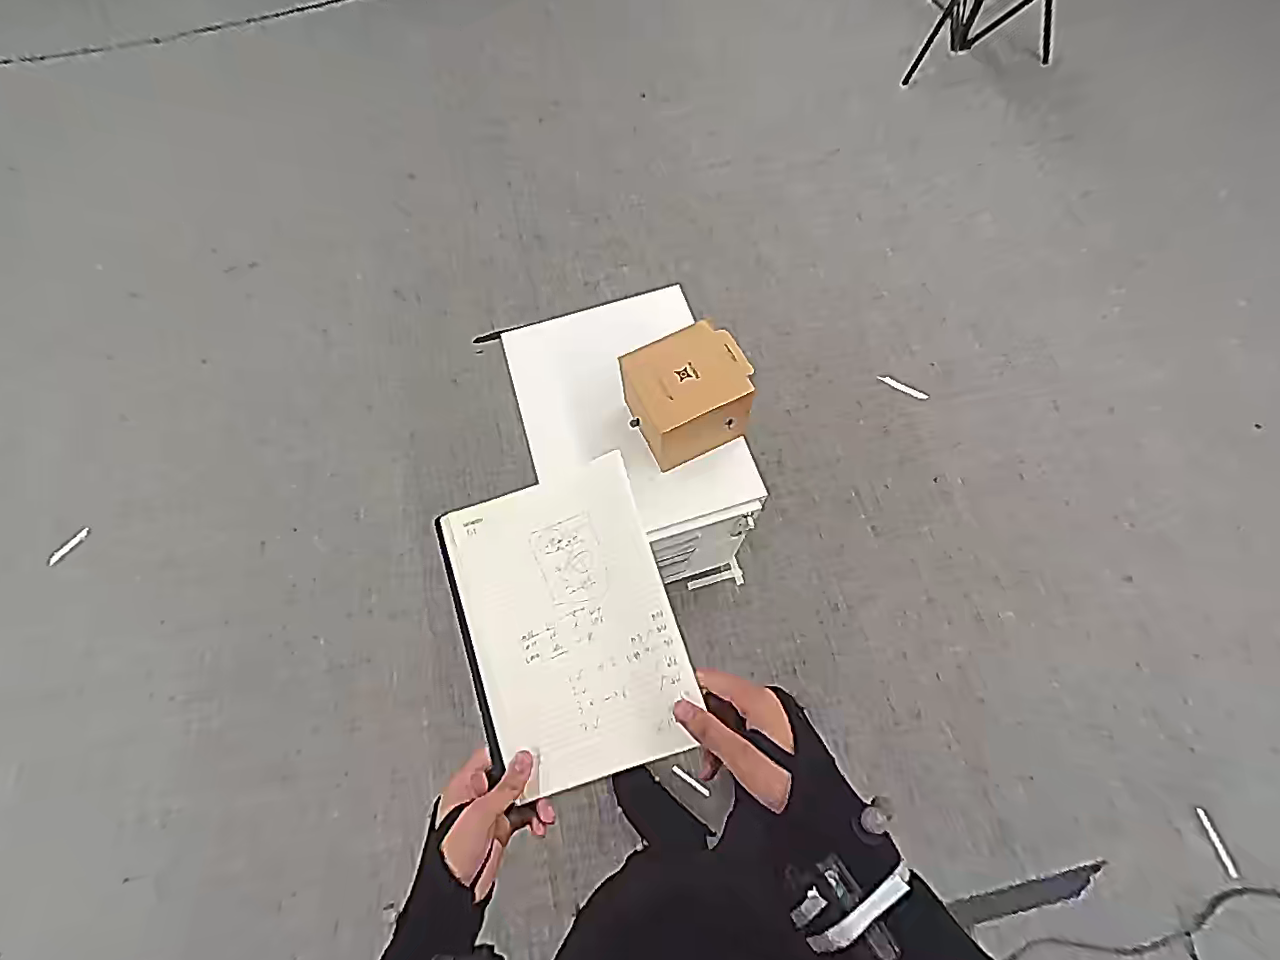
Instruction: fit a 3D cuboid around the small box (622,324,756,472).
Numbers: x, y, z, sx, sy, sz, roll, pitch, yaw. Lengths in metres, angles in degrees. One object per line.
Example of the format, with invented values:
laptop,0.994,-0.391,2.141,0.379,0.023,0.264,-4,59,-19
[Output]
small box,0.082,-0.141,0.972,0.179,0.176,0.168,-25,69,-6
